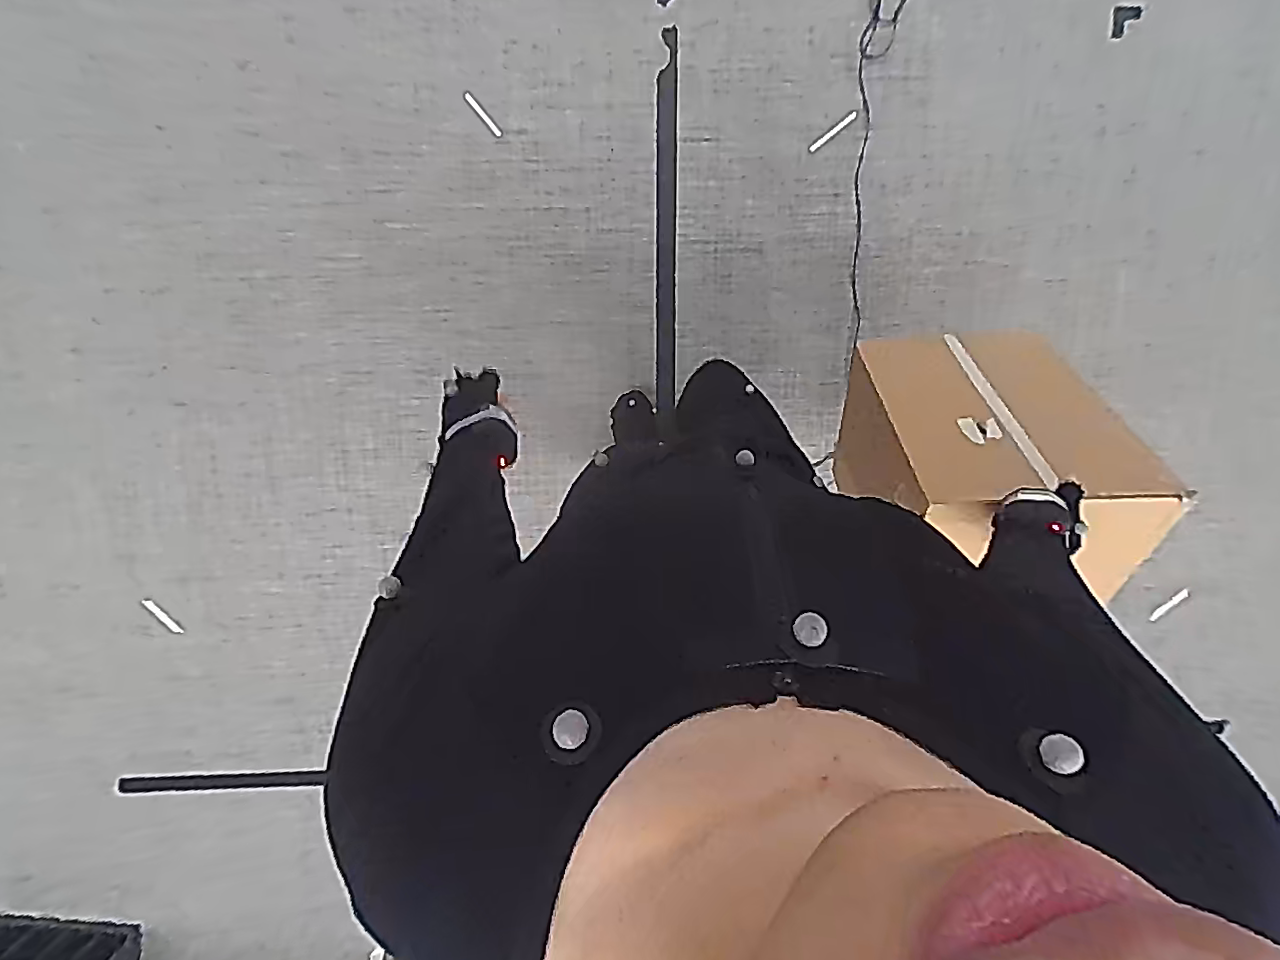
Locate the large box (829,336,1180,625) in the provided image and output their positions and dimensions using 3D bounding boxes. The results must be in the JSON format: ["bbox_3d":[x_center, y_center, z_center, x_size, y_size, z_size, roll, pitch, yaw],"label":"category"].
[{"bbox_3d":[0.547,-0.005,0.936,0.320,0.408,0.320,-3,136,5],"label":"large box"}]
